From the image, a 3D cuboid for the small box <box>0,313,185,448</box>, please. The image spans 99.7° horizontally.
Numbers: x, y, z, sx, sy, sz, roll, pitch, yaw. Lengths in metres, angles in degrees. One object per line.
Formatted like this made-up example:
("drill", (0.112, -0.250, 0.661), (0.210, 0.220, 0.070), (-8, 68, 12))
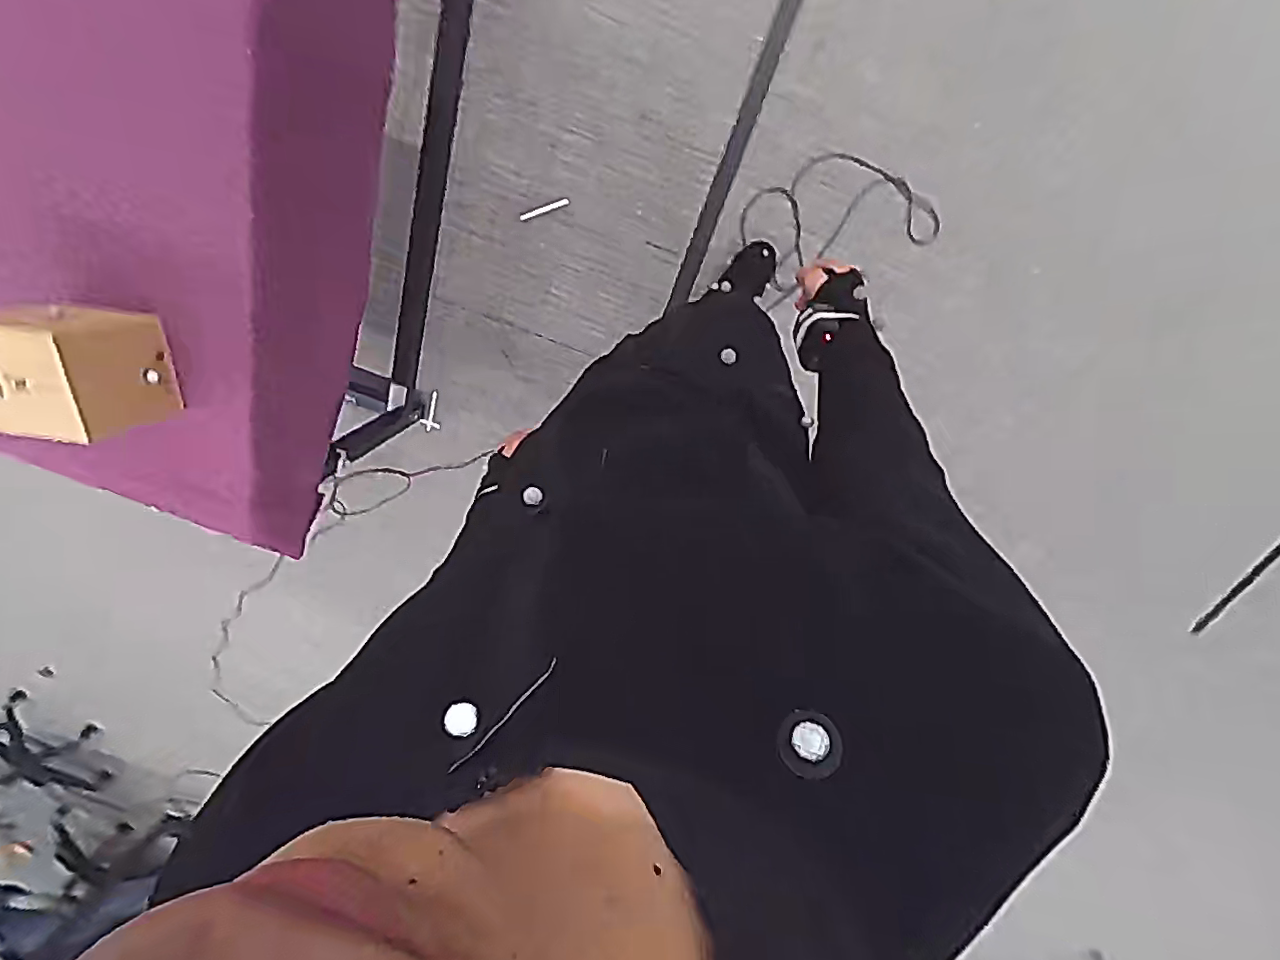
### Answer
("small box", (-0.891, -0.166, 0.860), (0.179, 0.176, 0.168), (8, 116, 4))
